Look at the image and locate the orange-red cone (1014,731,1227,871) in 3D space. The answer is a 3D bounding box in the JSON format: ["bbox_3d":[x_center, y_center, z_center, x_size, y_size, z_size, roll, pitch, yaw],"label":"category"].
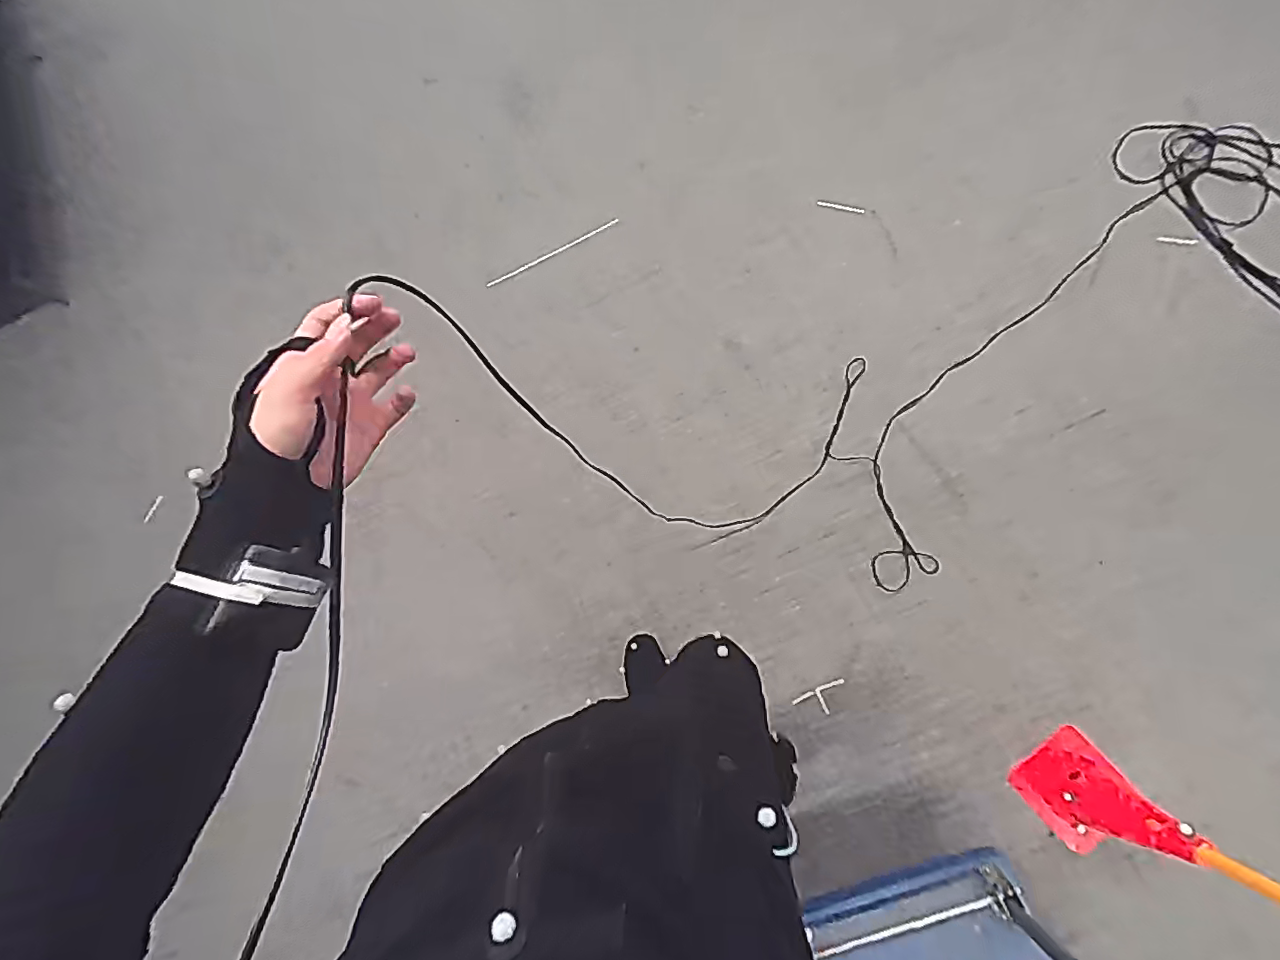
[{"bbox_3d":[0.948,0.650,1.039,0.199,0.360,0.198,-38,74,-3],"label":"orange-red cone"}]
